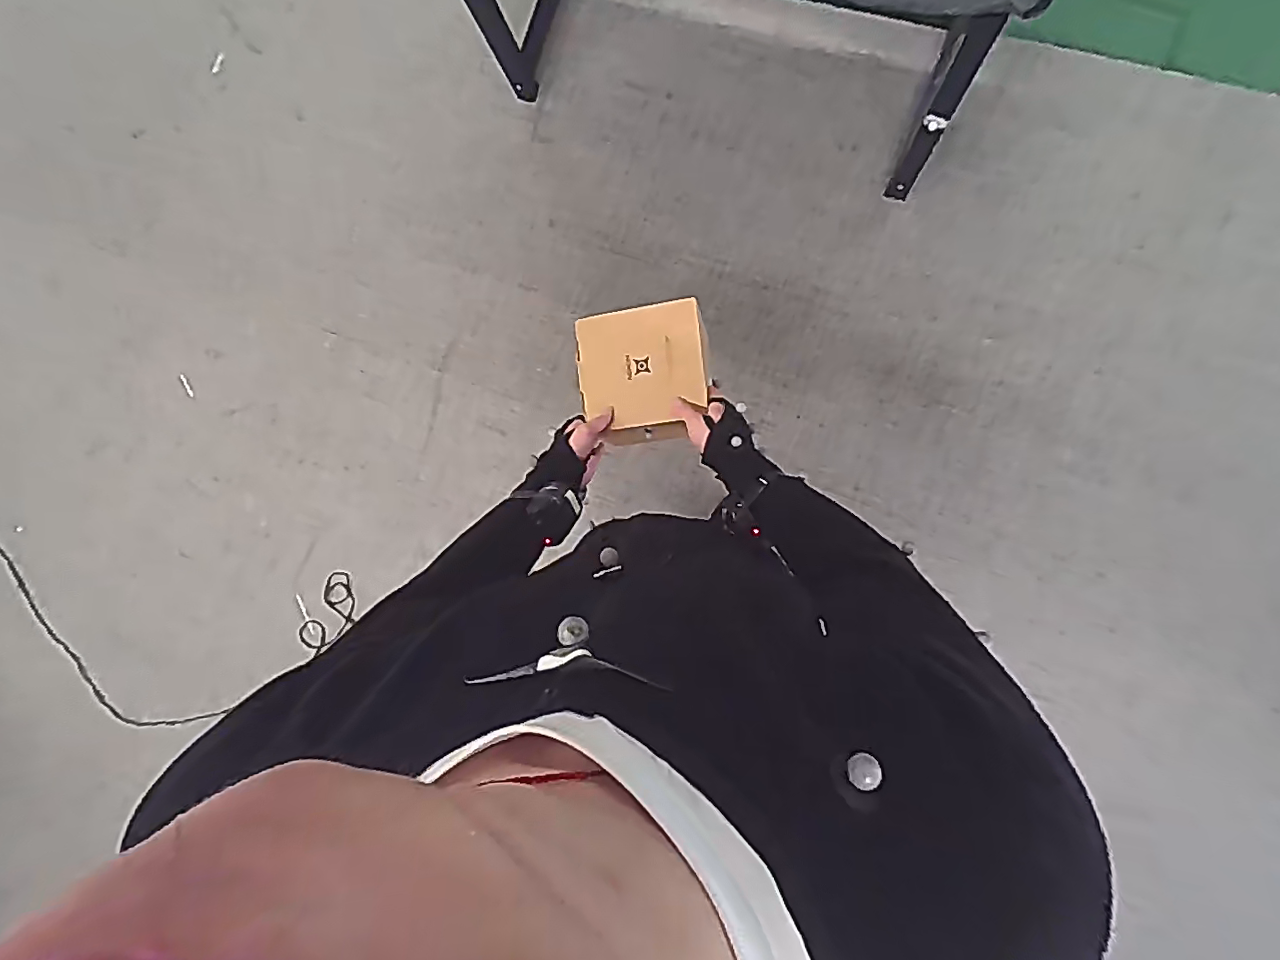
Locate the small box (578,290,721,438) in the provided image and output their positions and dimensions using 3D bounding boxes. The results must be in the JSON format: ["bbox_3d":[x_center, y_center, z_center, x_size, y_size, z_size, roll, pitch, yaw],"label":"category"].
[{"bbox_3d":[0.022,-0.162,0.815,0.179,0.176,0.168,-8,87,11],"label":"small box"}]

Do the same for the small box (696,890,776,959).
[{"bbox_3d":[0.249,1.241,1.412,0.168,0.176,0.179,23,93,9],"label":"small box"}]
